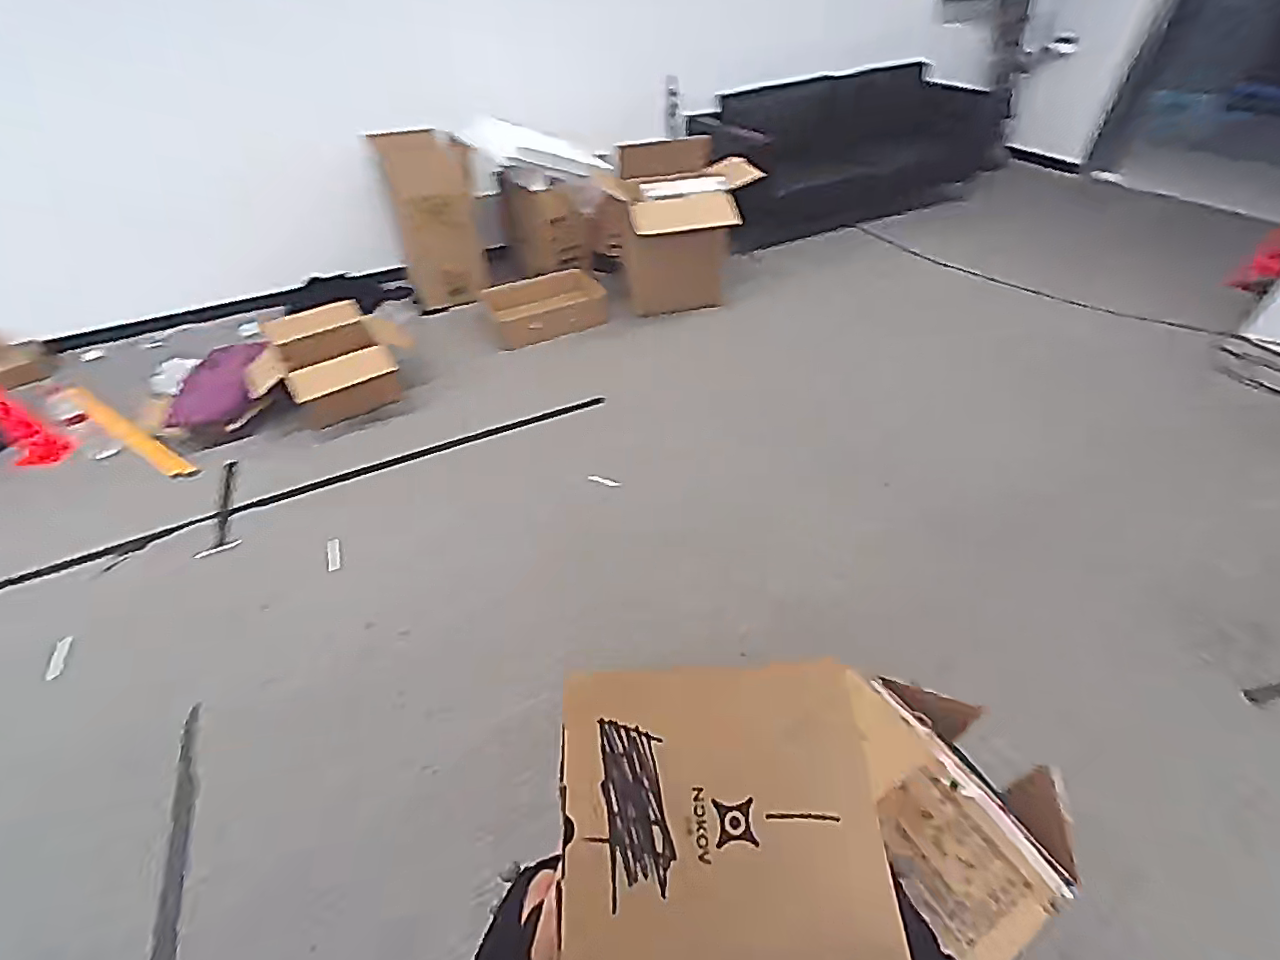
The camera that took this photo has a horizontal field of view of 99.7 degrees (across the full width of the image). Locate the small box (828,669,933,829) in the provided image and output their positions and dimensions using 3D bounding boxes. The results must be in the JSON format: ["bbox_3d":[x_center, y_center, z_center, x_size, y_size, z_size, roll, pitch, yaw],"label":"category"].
[{"bbox_3d":[0.328,0.451,0.878,0.179,0.176,0.168,-26,47,-17],"label":"small box"}]
